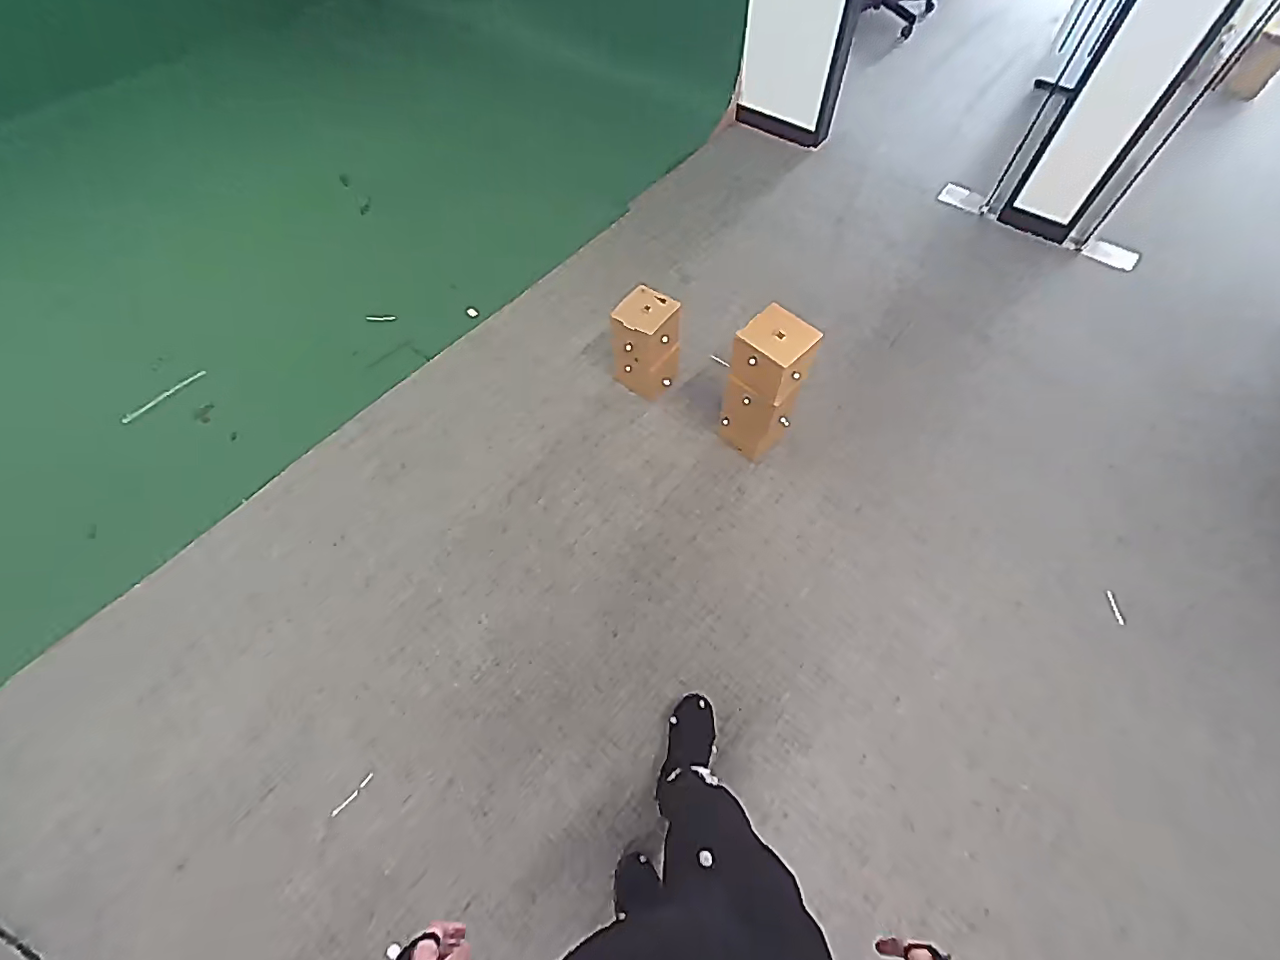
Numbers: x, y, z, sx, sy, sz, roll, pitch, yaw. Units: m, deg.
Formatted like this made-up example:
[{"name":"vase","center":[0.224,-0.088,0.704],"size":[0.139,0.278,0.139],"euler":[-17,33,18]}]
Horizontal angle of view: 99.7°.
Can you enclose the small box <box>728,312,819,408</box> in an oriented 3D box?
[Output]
[{"name":"small box","center":[0.370,-0.330,1.529],"size":[0.168,0.176,0.179],"euler":[-41,66,-19]}]

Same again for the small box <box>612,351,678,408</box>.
[{"name":"small box","center":[0.019,-0.394,1.955],"size":[0.179,0.176,0.168],"euler":[35,66,19]}]

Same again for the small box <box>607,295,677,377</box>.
[{"name":"small box","center":[0.013,-0.479,1.816],"size":[0.168,0.176,0.179],"euler":[32,66,18]}]

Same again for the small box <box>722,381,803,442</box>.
[{"name":"small box","center":[0.370,-0.248,1.669],"size":[0.179,0.176,0.168],"euler":[37,67,19]}]
